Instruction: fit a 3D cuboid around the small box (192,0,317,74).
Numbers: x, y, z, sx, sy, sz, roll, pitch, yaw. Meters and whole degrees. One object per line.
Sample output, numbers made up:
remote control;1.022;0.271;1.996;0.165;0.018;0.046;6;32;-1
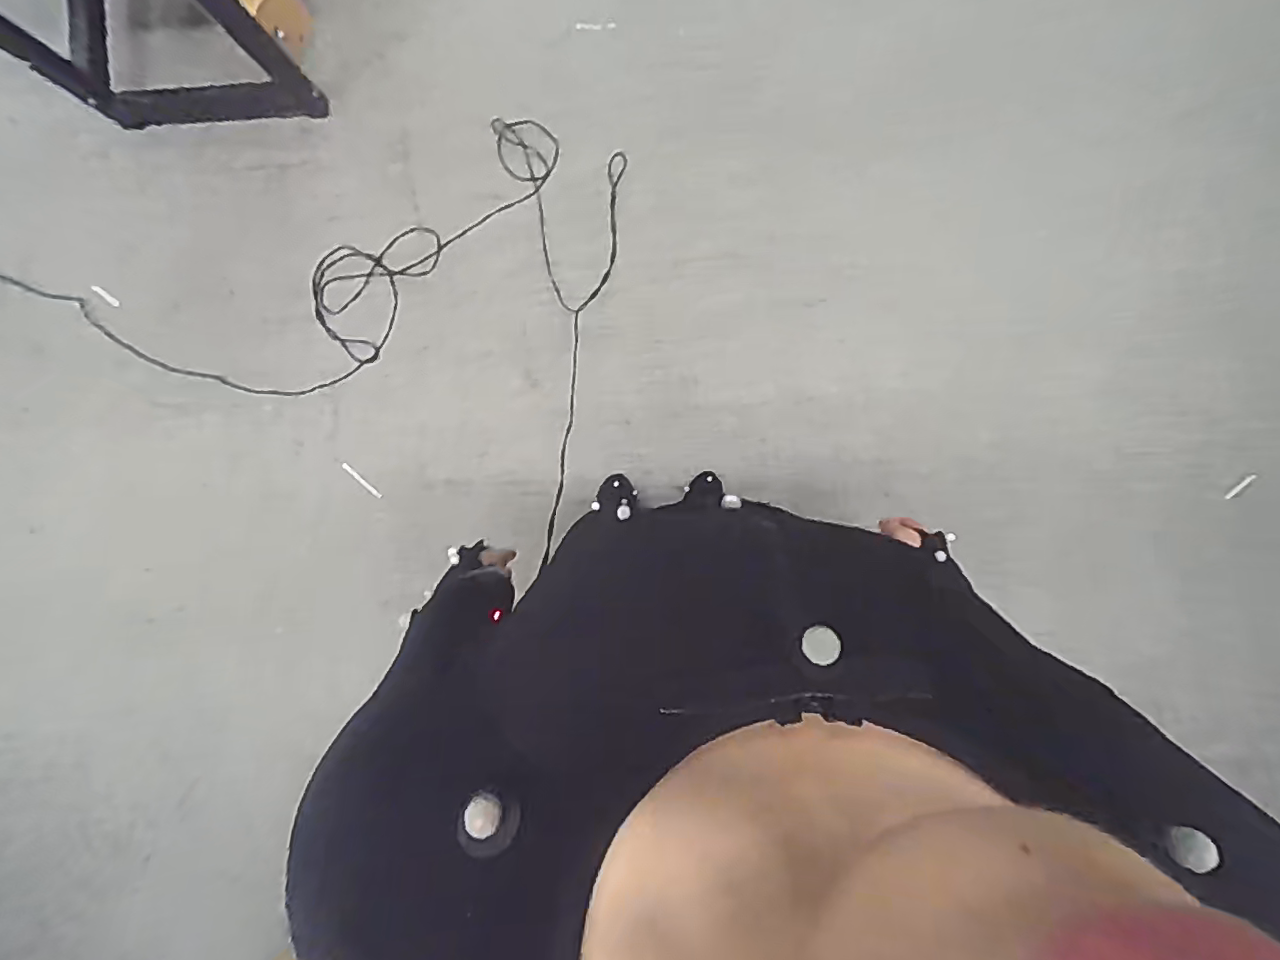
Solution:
small box;-0.986;-1.206;1.397;0.179;0.176;0.168;31;92;1
